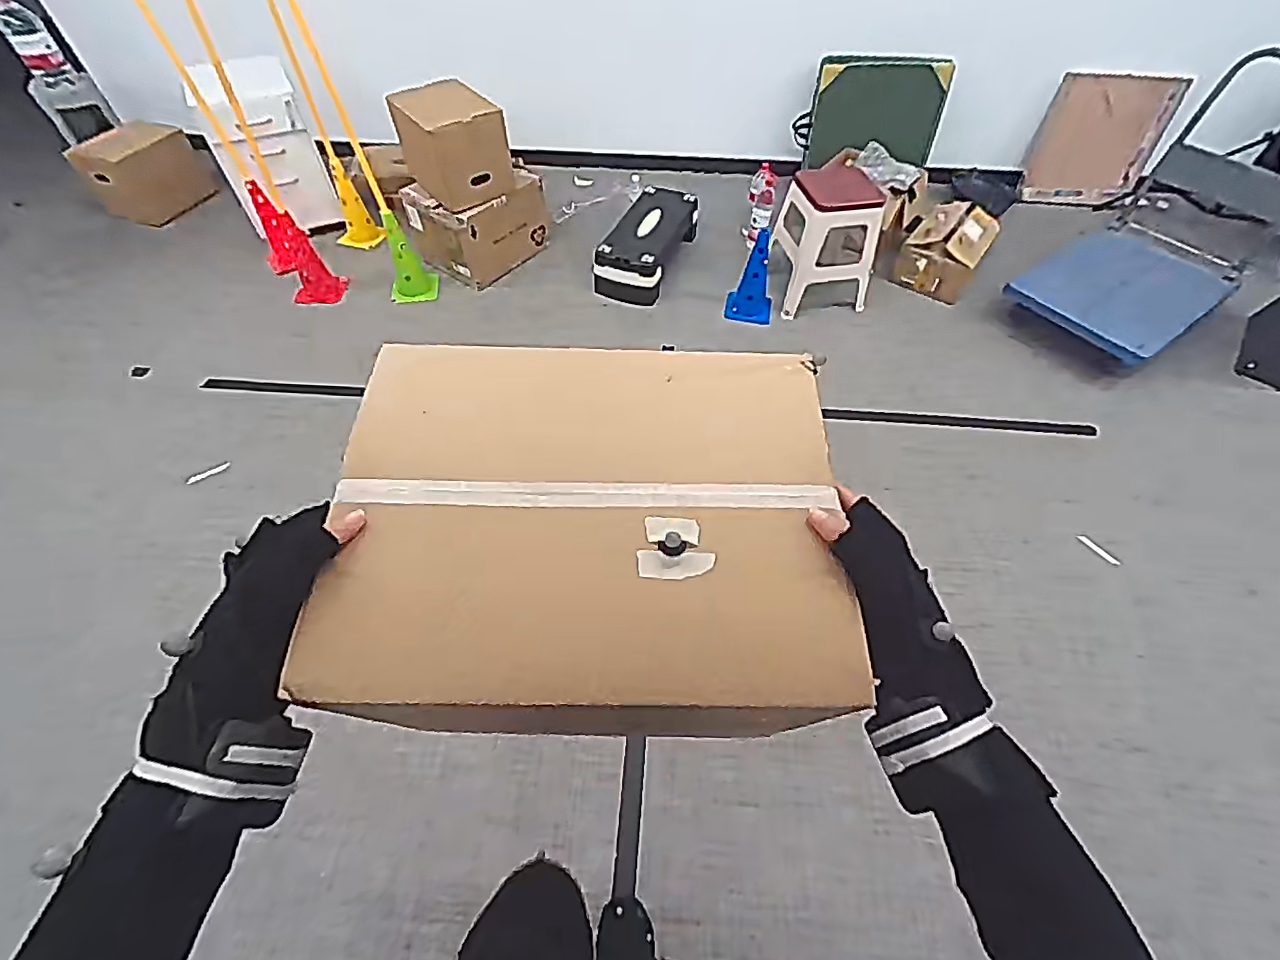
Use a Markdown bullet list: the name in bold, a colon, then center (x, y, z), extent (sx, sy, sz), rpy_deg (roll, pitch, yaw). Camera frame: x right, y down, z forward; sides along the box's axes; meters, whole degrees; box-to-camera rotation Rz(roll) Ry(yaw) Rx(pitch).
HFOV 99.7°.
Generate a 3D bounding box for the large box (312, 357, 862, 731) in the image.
- **large box**: center (-0.041, 0.088, 0.587), extent (0.408, 0.320, 0.320), rpy_deg (1, 61, -1)
